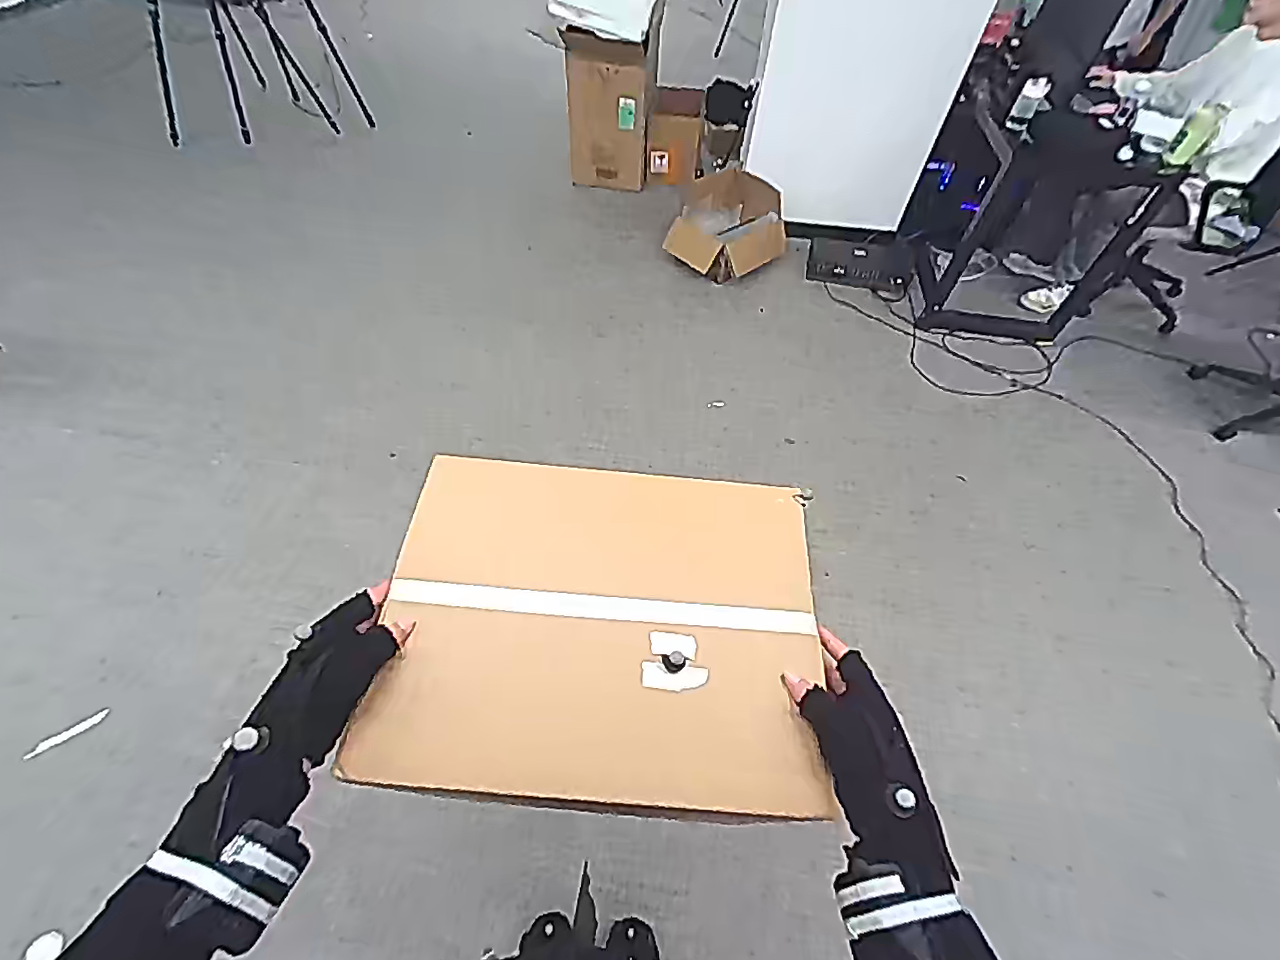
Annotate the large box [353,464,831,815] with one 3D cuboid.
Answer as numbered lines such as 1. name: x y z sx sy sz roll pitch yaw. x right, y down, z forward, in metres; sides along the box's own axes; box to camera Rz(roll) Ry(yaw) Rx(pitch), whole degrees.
1. large box: -0.042 0.205 0.646 0.408 0.320 0.320 6 58 -2
